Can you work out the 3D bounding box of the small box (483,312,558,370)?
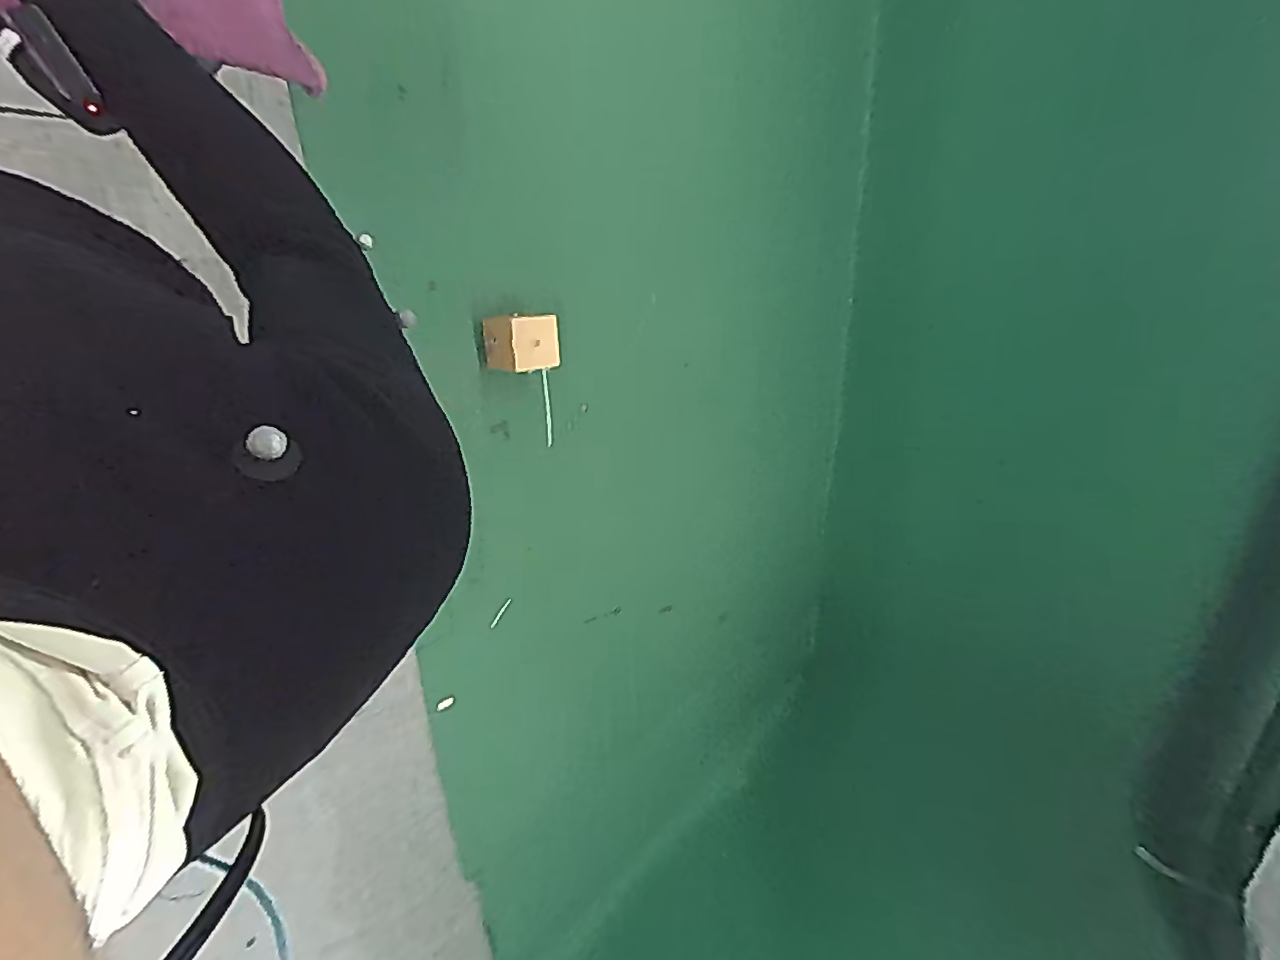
[{"bbox_3d":[-0.396,-0.467,1.795,0.179,0.176,0.168,-21,118,-41],"label":"small box"}]
